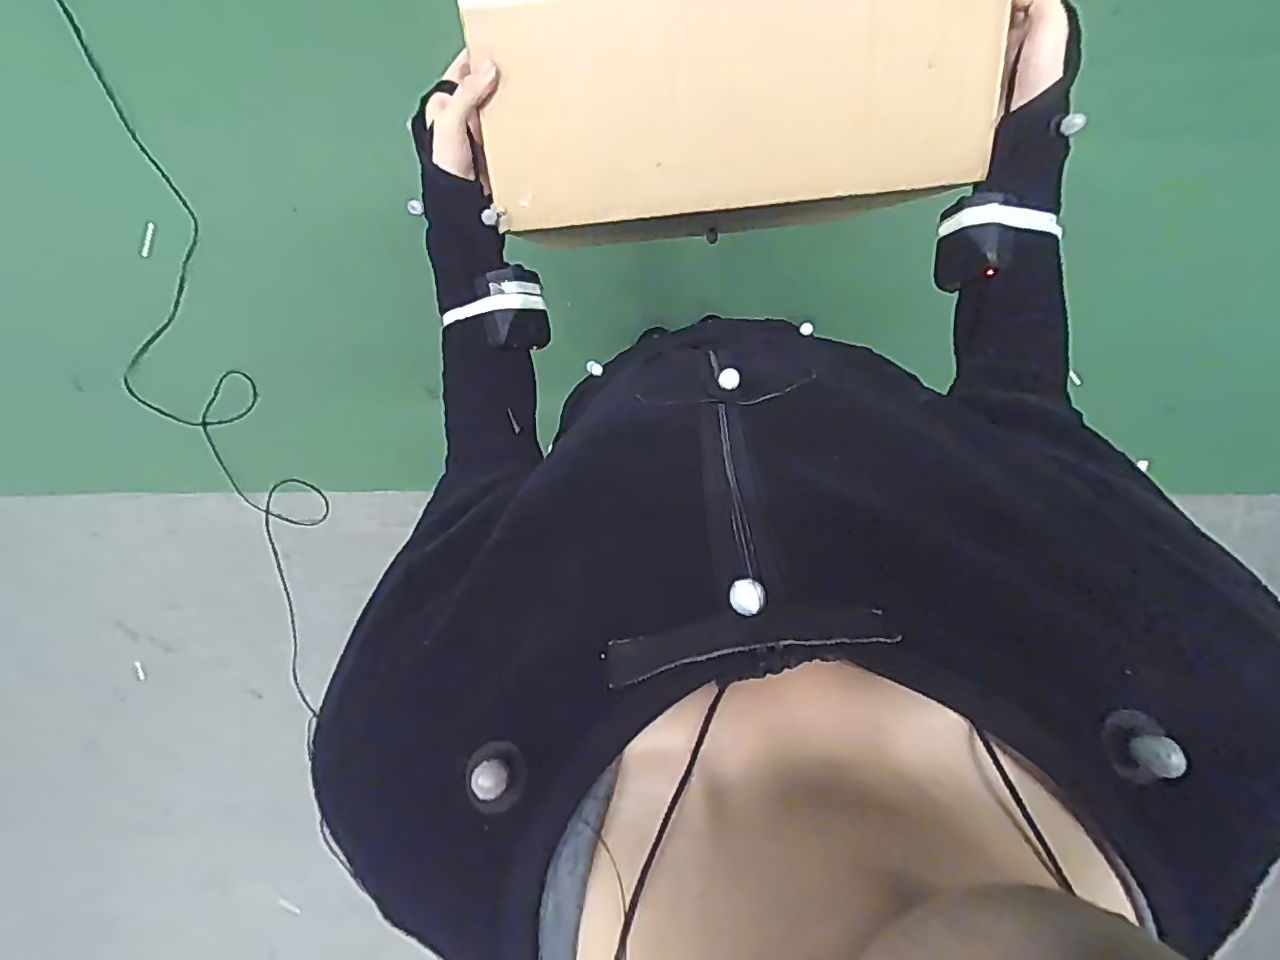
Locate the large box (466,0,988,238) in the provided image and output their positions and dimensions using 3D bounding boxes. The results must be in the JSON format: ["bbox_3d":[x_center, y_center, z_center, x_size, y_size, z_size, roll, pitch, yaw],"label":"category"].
[{"bbox_3d":[0.065,-0.436,0.541,0.408,0.320,0.320,-5,110,2],"label":"large box"}]
